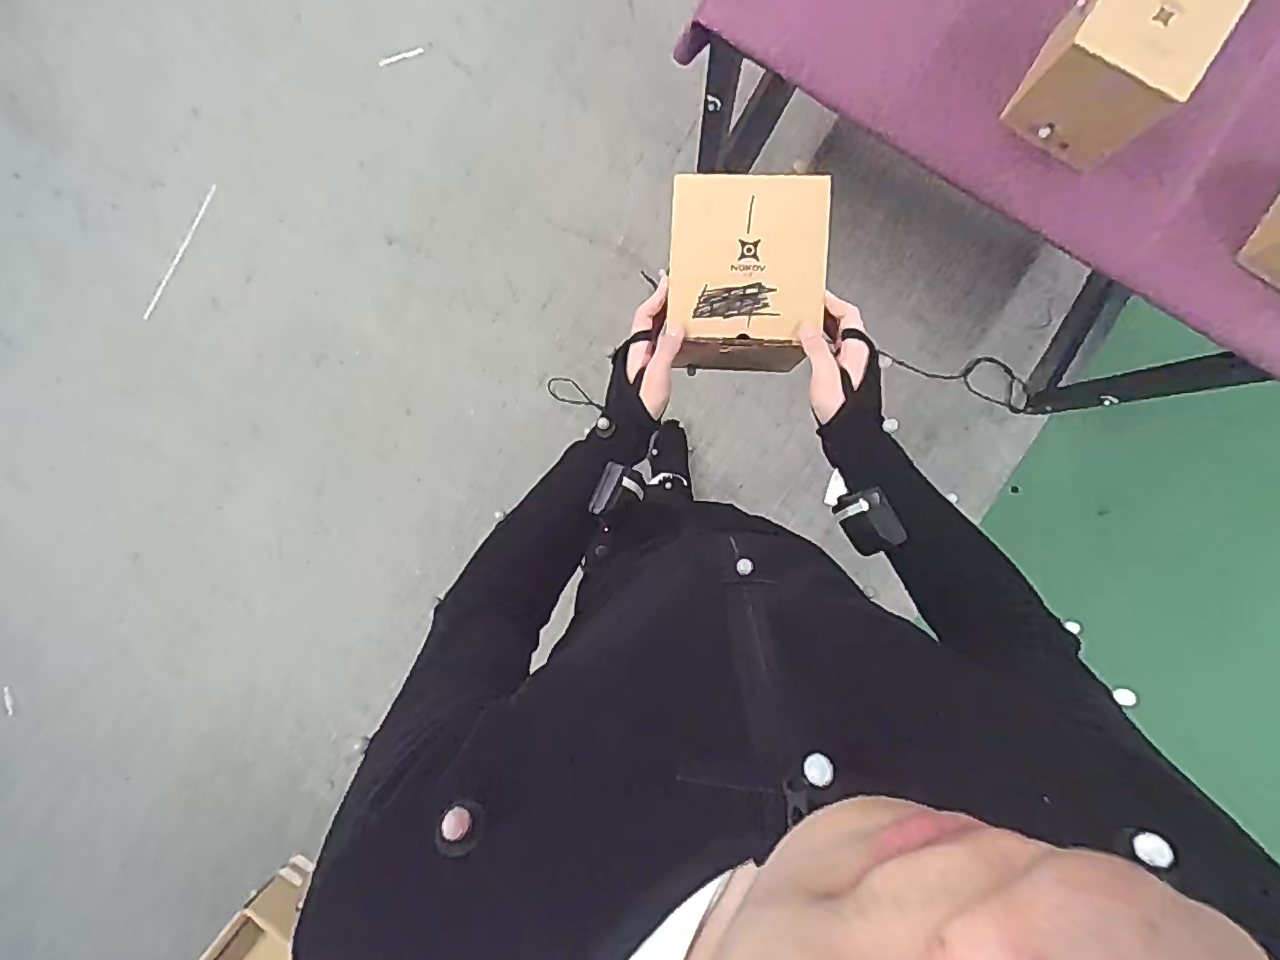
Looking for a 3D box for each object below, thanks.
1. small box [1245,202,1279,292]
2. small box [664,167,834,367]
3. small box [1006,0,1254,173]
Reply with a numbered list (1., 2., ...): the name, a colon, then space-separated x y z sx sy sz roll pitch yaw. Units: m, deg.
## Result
1. small box: 1.042 -0.365 0.761 0.168 0.176 0.179 34 90 3
2. small box: 0.117 -0.235 0.637 0.168 0.176 0.179 3 91 3
3. small box: 0.678 -0.593 0.774 0.168 0.176 0.179 32 91 2
